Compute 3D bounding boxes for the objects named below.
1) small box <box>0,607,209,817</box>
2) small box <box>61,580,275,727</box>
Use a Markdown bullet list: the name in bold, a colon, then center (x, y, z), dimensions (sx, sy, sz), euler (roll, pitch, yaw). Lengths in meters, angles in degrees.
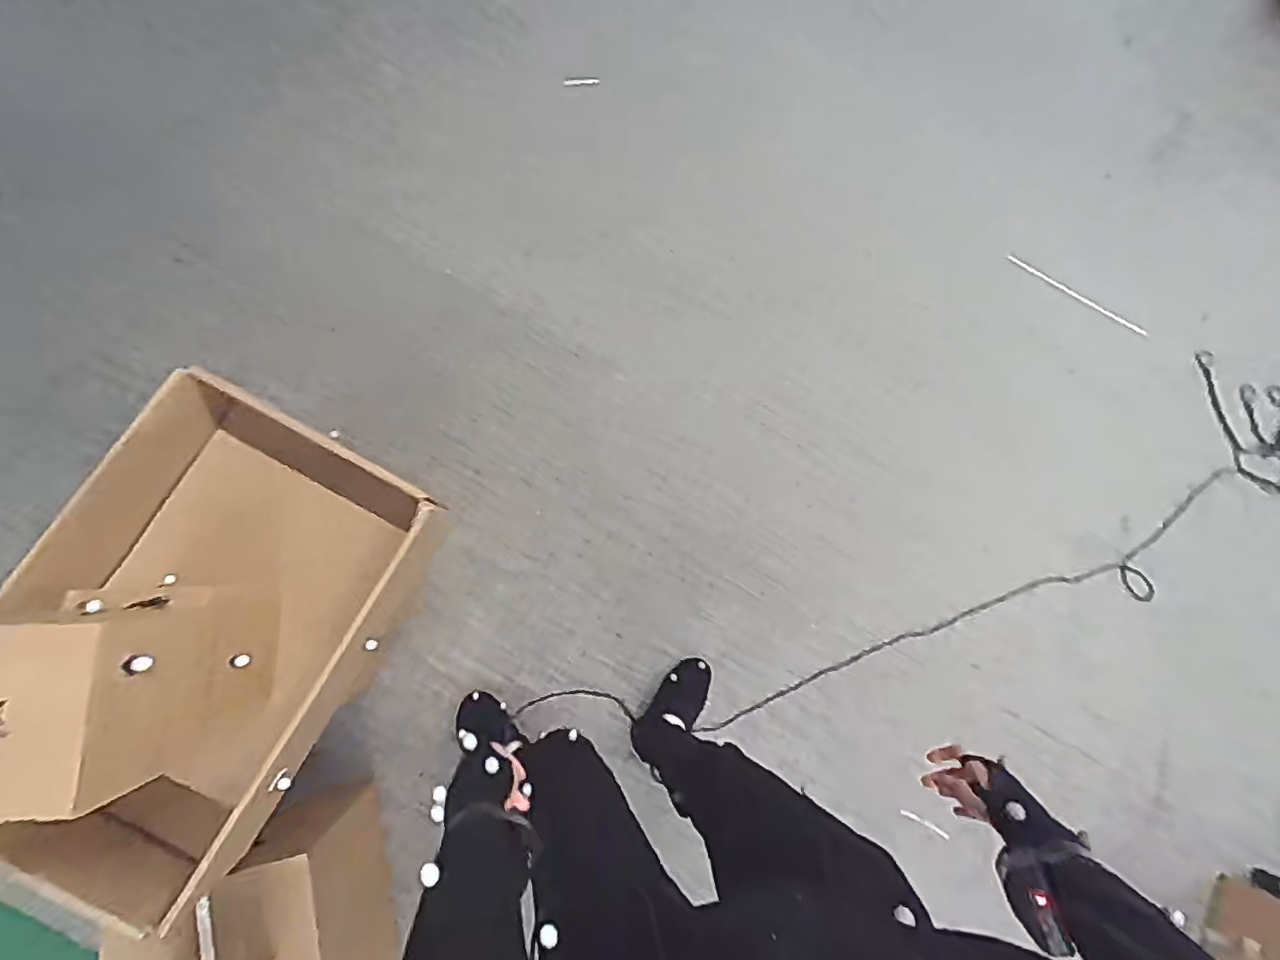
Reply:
- **small box**: center (-0.599, 0.226, 0.568), dimensions (0.168, 0.176, 0.179), euler (1, 81, -6)
- **small box**: center (-0.627, 0.229, 0.733), dimensions (0.168, 0.176, 0.179), euler (0, 81, -9)
